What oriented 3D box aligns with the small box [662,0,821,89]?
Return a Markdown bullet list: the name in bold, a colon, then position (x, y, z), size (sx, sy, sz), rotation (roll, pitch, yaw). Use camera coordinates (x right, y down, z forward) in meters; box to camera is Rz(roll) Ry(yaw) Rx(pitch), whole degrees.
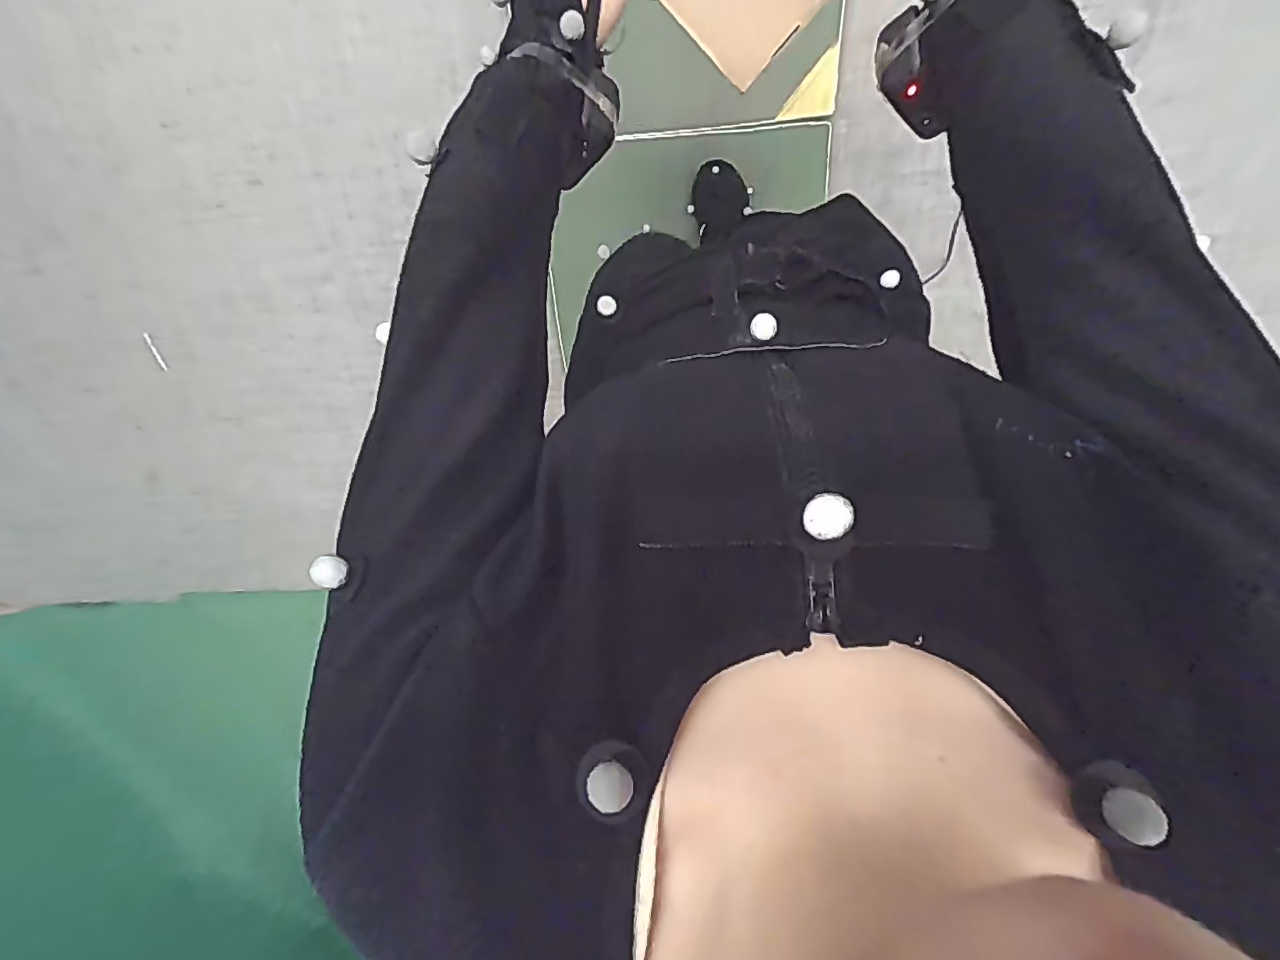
- **small box**: position (0.073, -0.466, 0.419), size (0.179, 0.176, 0.168), rotation (27, 132, -32)
